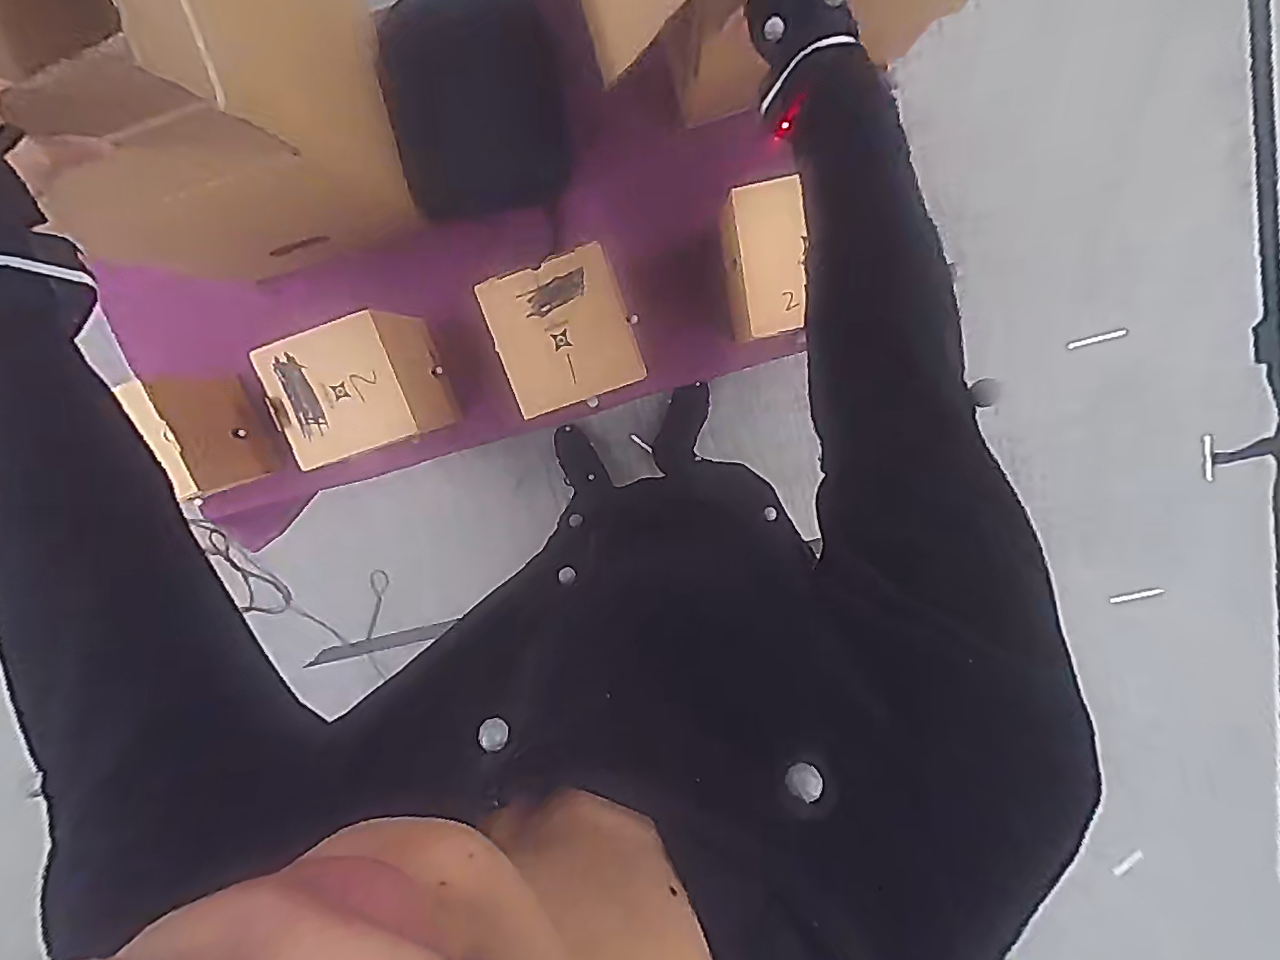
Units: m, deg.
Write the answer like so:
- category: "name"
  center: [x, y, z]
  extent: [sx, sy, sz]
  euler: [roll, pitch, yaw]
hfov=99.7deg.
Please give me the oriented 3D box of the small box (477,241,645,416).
- category: "small box"
  center: [-0.096, -0.202, 0.750]
  extent: [0.168, 0.176, 0.179]
  euler: [-17, 102, 7]

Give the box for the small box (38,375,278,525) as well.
- category: "small box"
  center: [-0.702, -0.052, 0.812]
  extent: [0.179, 0.176, 0.168]
  euler: [-19, 101, 5]

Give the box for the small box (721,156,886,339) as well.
- category: "small box"
  center: [0.205, -0.290, 0.715]
  extent: [0.168, 0.176, 0.179]
  euler: [-9, 102, 6]
